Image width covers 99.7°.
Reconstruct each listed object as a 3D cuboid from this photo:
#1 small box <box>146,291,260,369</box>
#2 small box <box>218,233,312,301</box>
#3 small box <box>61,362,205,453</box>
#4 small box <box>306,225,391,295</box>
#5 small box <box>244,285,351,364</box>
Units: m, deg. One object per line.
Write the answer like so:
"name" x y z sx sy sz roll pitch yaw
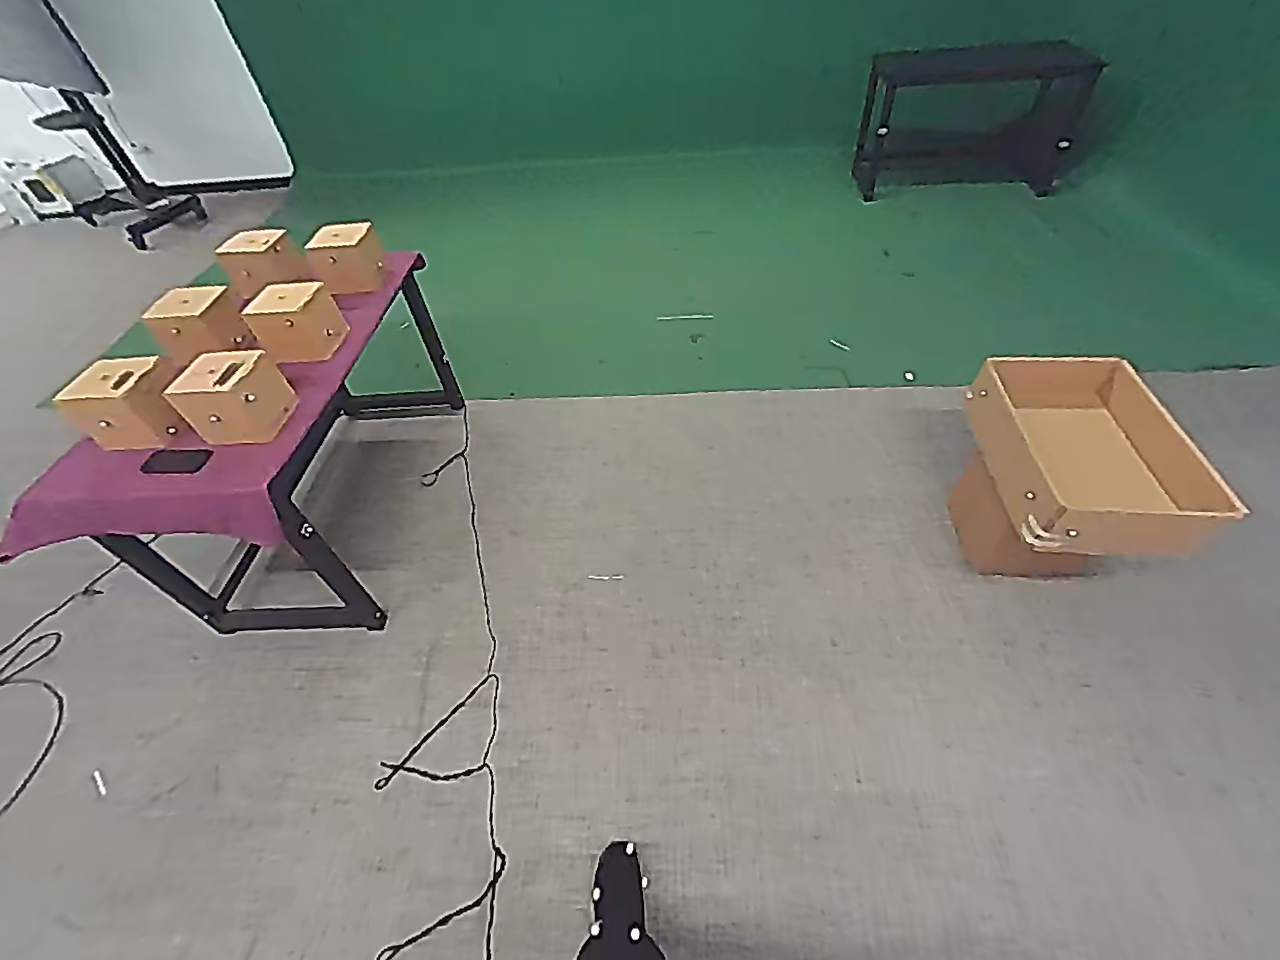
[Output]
"small box" -1.317 -0.453 1.645 0.179 0.176 0.168 -2 49 3
"small box" -1.311 -0.745 1.902 0.179 0.176 0.168 -2 49 5
"small box" -1.294 -0.184 1.398 0.179 0.176 0.168 -3 48 4
"small box" -1.002 -0.759 1.875 0.179 0.176 0.168 -3 50 3
"small box" -1.012 -0.460 1.614 0.179 0.176 0.168 -2 48 6
